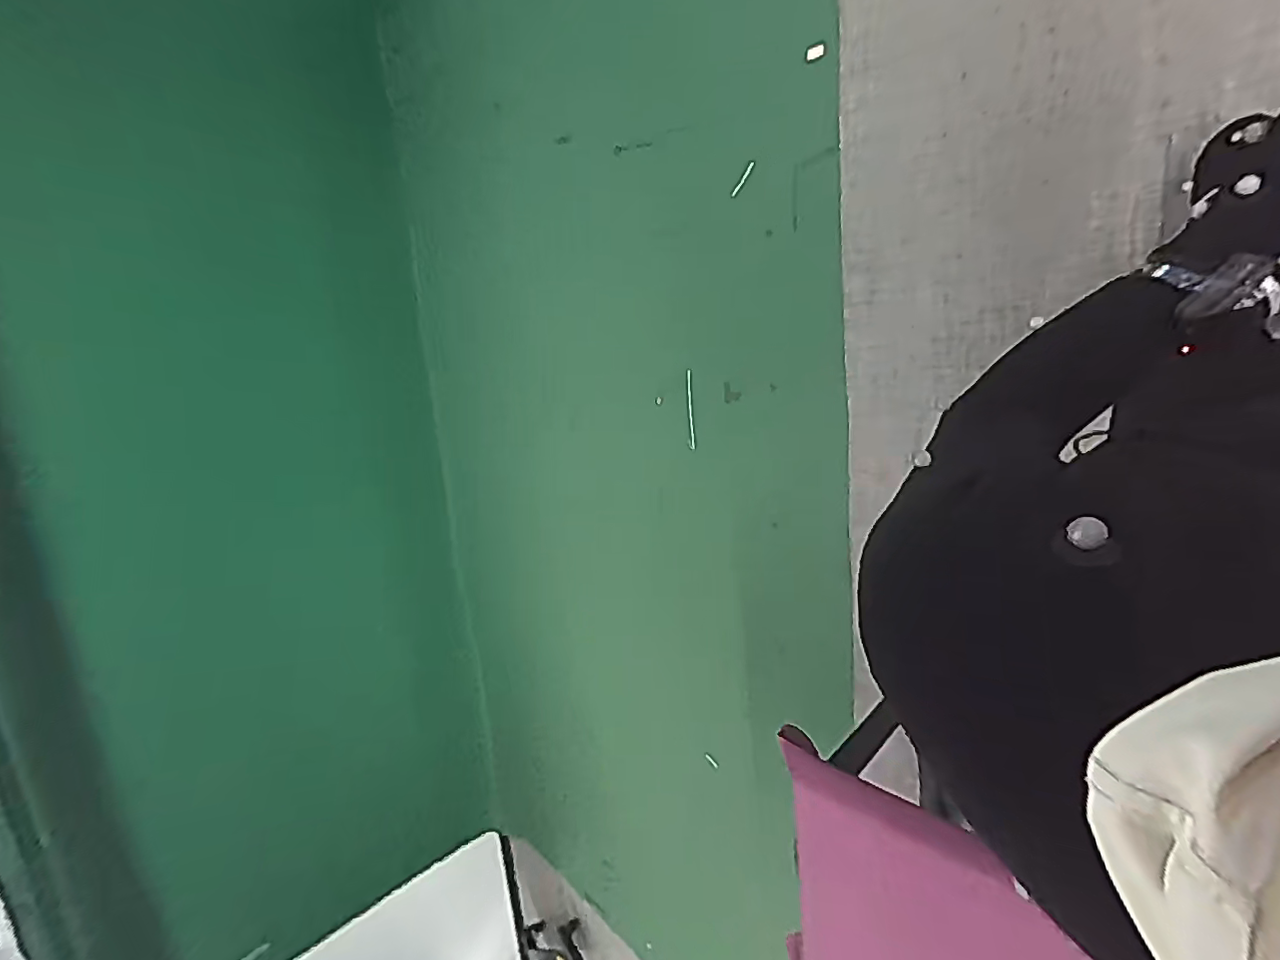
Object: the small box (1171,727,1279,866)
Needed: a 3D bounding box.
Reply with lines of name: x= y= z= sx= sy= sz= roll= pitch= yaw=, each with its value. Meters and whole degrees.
small box: x=1.262 y=0.658 z=1.147 sx=0.179 sy=0.176 sz=0.168 roll=5 pitch=105 yaw=46
